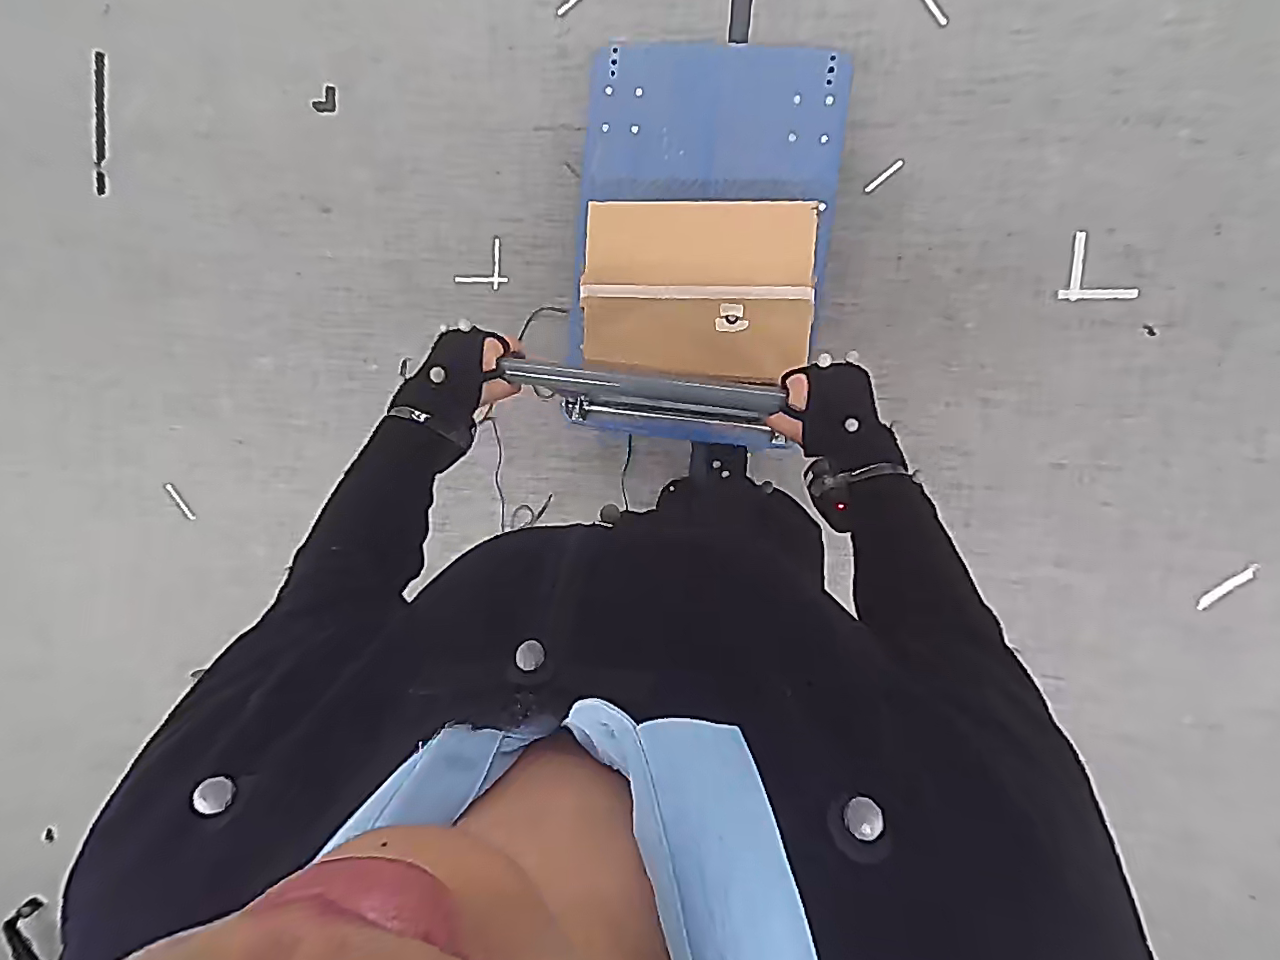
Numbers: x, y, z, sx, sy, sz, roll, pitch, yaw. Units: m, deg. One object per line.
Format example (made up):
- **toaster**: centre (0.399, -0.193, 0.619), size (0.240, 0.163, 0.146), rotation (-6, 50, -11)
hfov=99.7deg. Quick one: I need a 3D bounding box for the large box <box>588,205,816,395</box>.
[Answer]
- **large box**: centre (0.118, -0.345, 1.118), size (0.408, 0.320, 0.320), rotation (3, 96, 6)
